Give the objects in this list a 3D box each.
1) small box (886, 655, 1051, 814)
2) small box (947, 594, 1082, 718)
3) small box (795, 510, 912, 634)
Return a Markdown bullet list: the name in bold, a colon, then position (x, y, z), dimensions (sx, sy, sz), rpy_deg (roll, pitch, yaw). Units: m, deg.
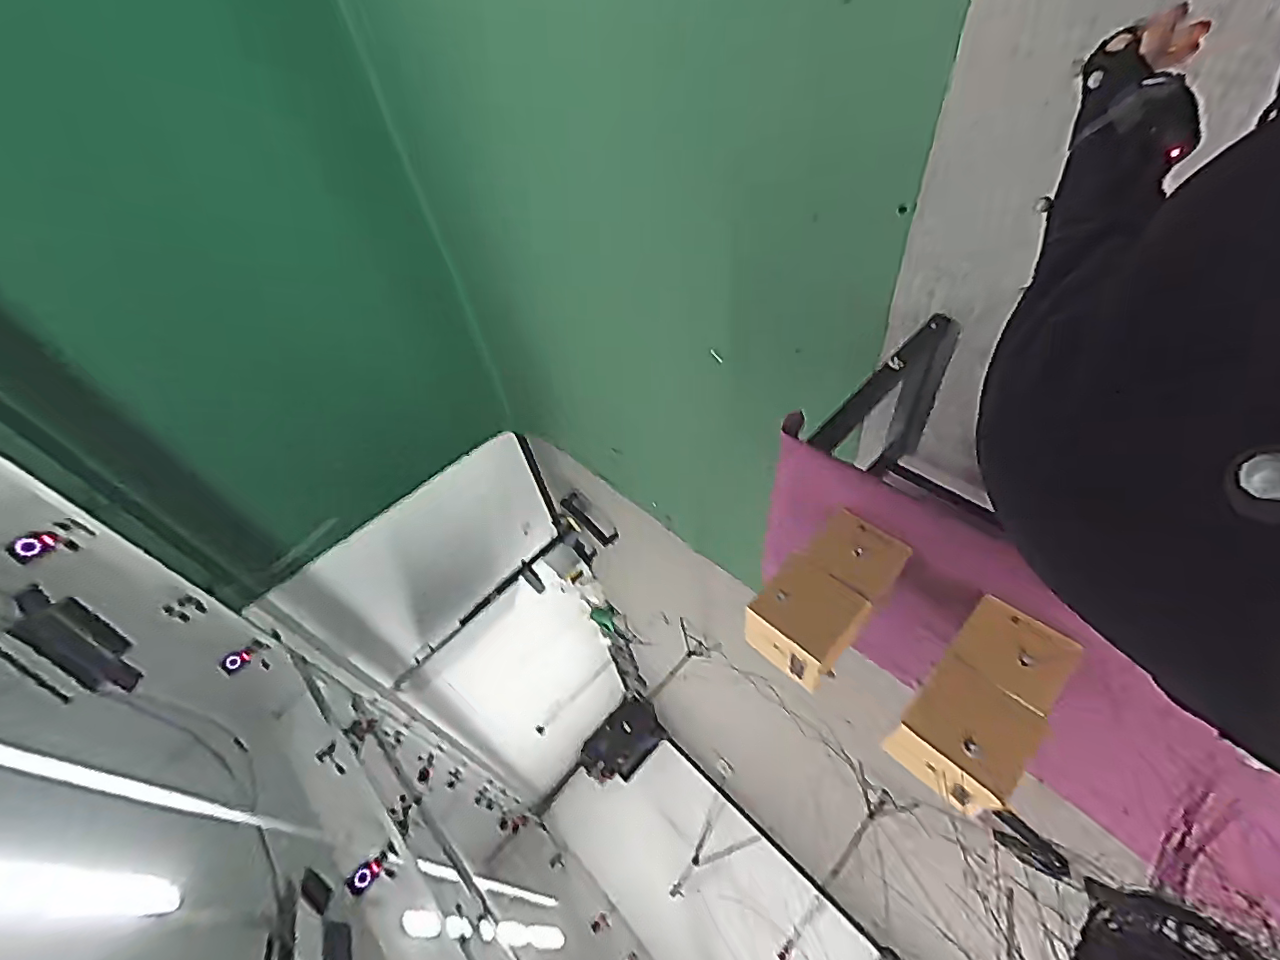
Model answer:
- **small box**: position (0.578, 0.448, 0.960), dimensions (0.179, 0.176, 0.168), rpy_deg (36, 155, 30)
- **small box**: position (0.691, 0.349, 1.025), dimensions (0.168, 0.176, 0.179), rpy_deg (33, 153, 33)
- **small box**: position (0.467, 0.197, 1.186), dimensions (0.168, 0.176, 0.179), rpy_deg (35, 154, 30)
